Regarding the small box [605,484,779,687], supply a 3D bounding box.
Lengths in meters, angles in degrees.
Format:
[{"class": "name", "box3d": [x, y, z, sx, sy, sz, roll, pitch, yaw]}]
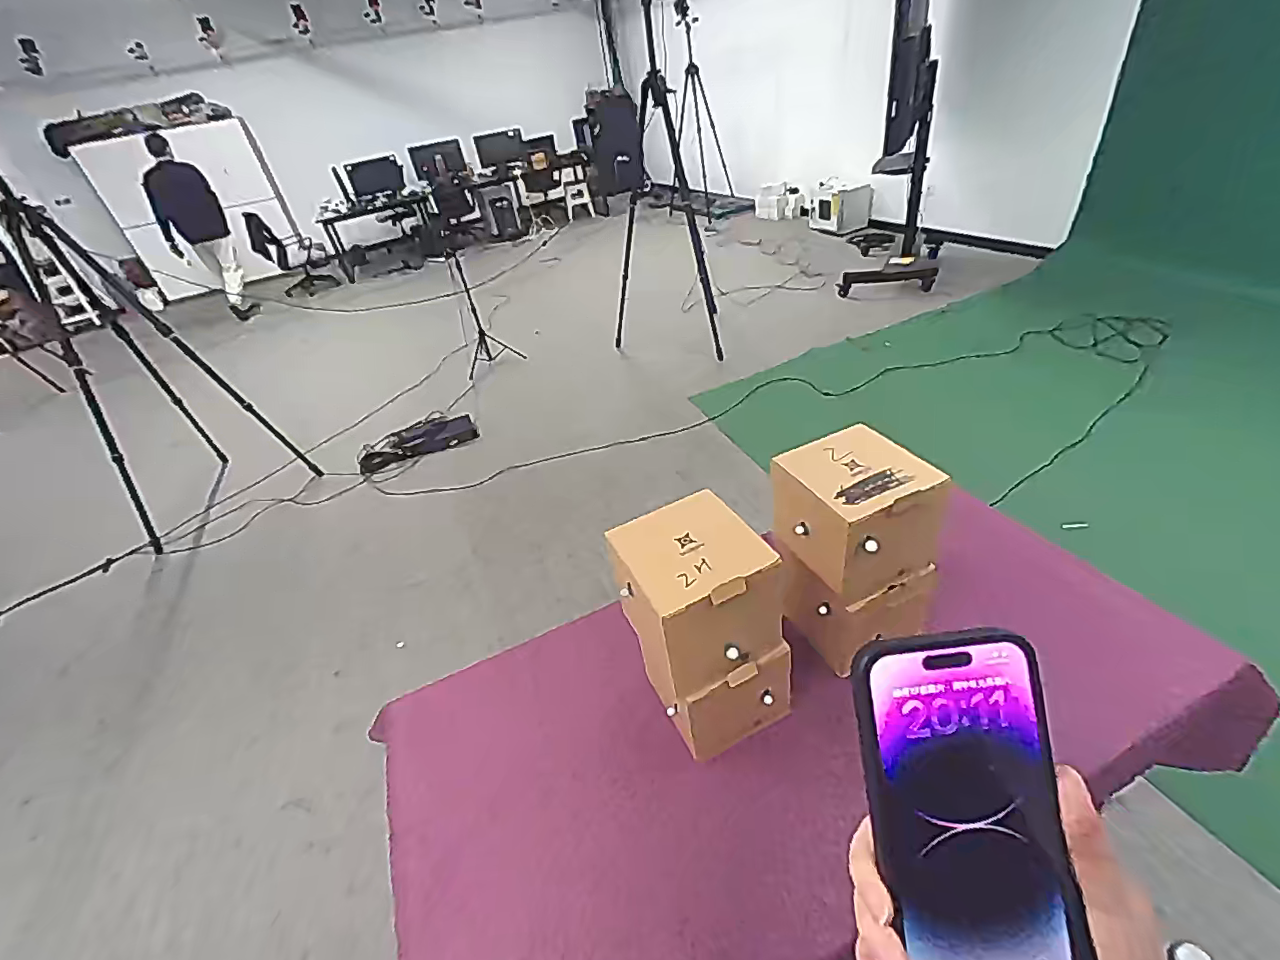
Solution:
[{"class": "small box", "box3d": [0.070, 0.139, 0.735, 0.168, 0.176, 0.179, -23, 39, -15]}]

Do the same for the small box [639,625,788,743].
[{"class": "small box", "box3d": [0.110, 0.270, 0.829, 0.168, 0.176, 0.179, -22, 38, -15]}]

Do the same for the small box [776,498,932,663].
[{"class": "small box", "box3d": [0.343, 0.165, 0.901, 0.168, 0.176, 0.179, -23, 39, -14]}]
